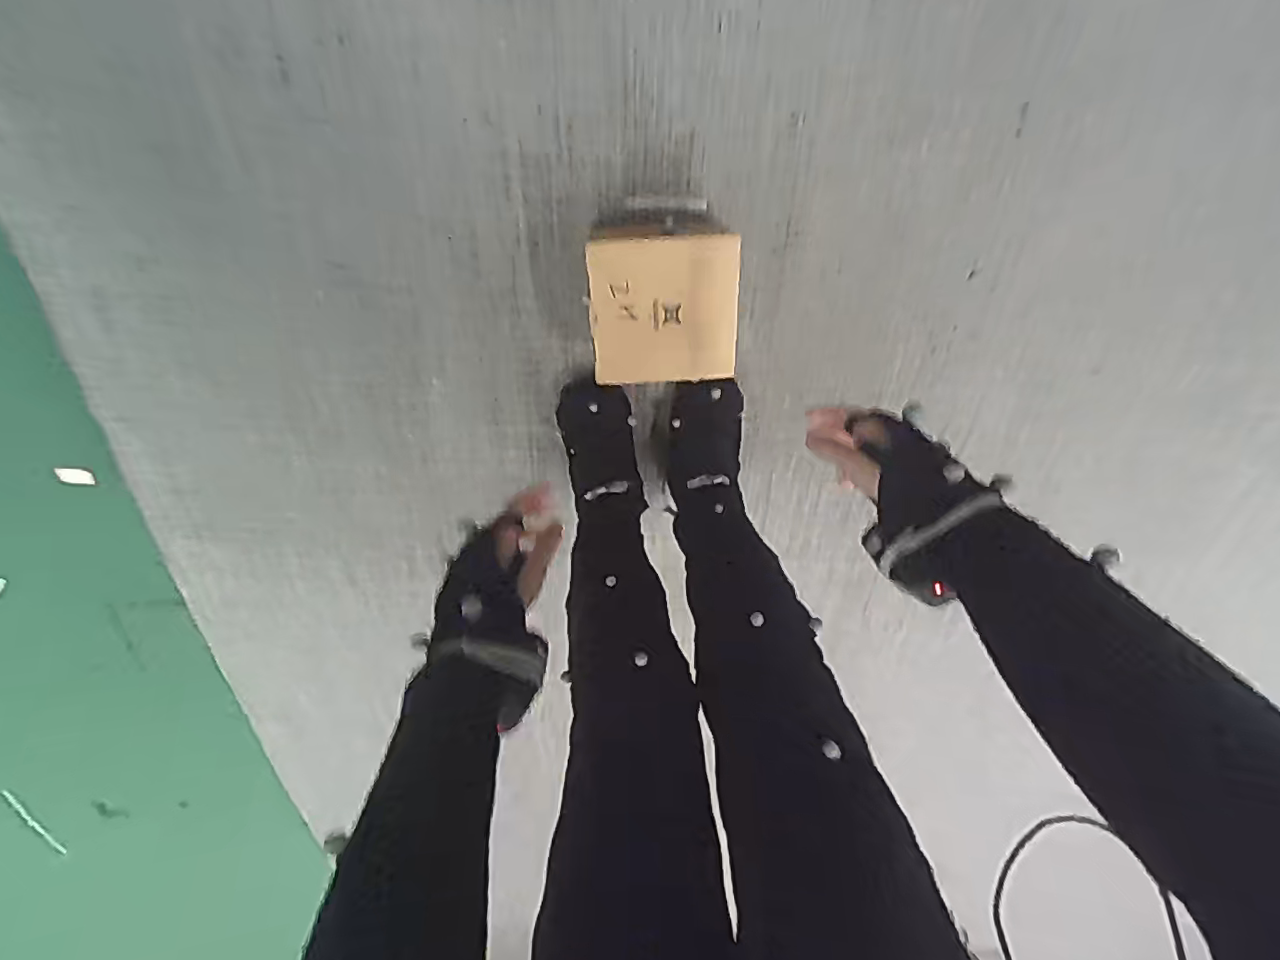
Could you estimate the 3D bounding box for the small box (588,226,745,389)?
[{"bbox_3d":[0.027,-0.227,0.697,0.179,0.176,0.168,-3,121,-1],"label":"small box"}]
